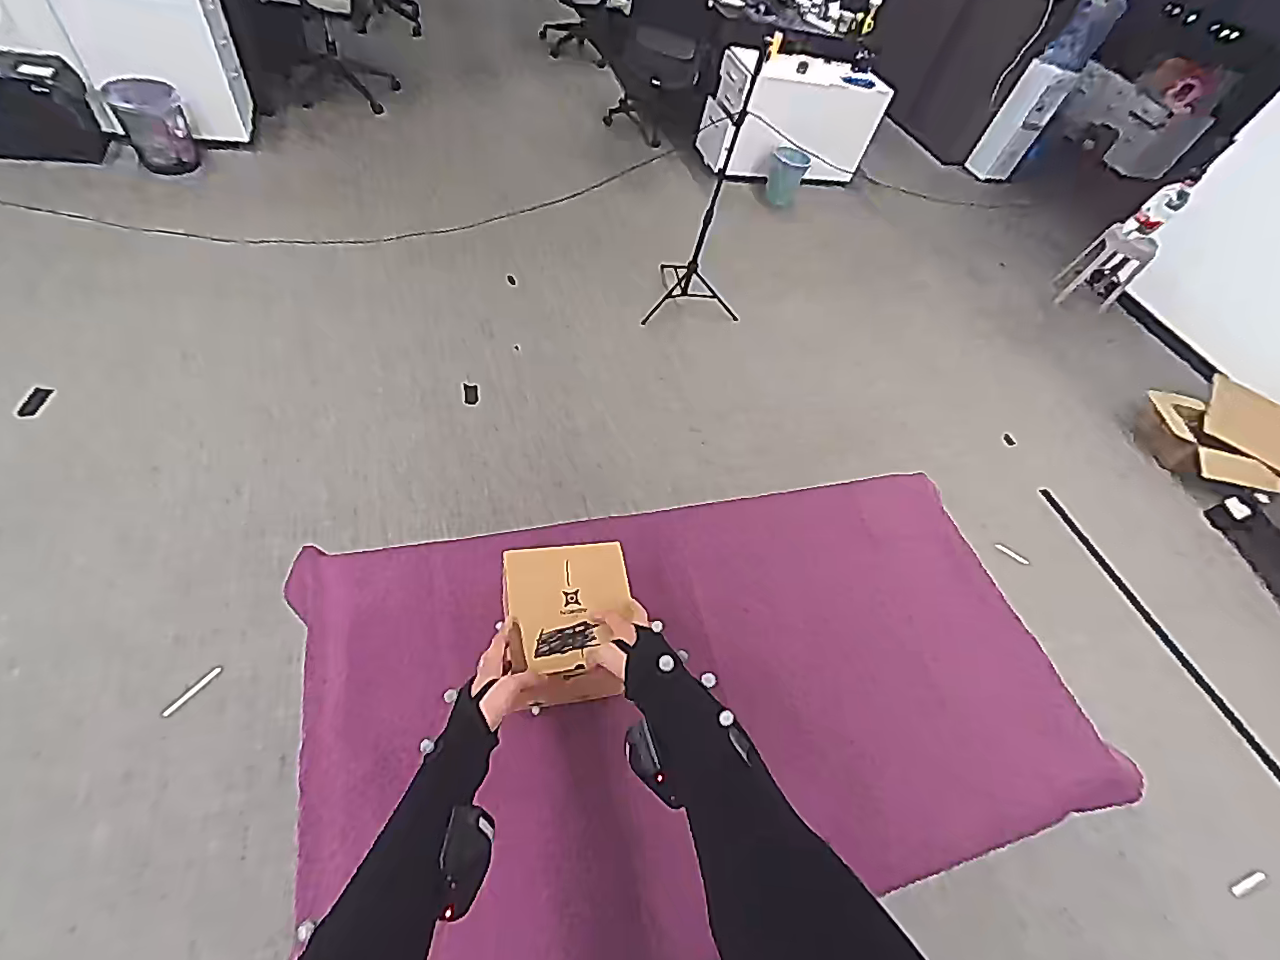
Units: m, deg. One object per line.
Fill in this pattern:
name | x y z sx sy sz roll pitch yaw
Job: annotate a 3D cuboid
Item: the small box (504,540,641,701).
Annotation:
small box | -0.107 0.208 0.780 0.168 0.176 0.179 -3 56 -17
